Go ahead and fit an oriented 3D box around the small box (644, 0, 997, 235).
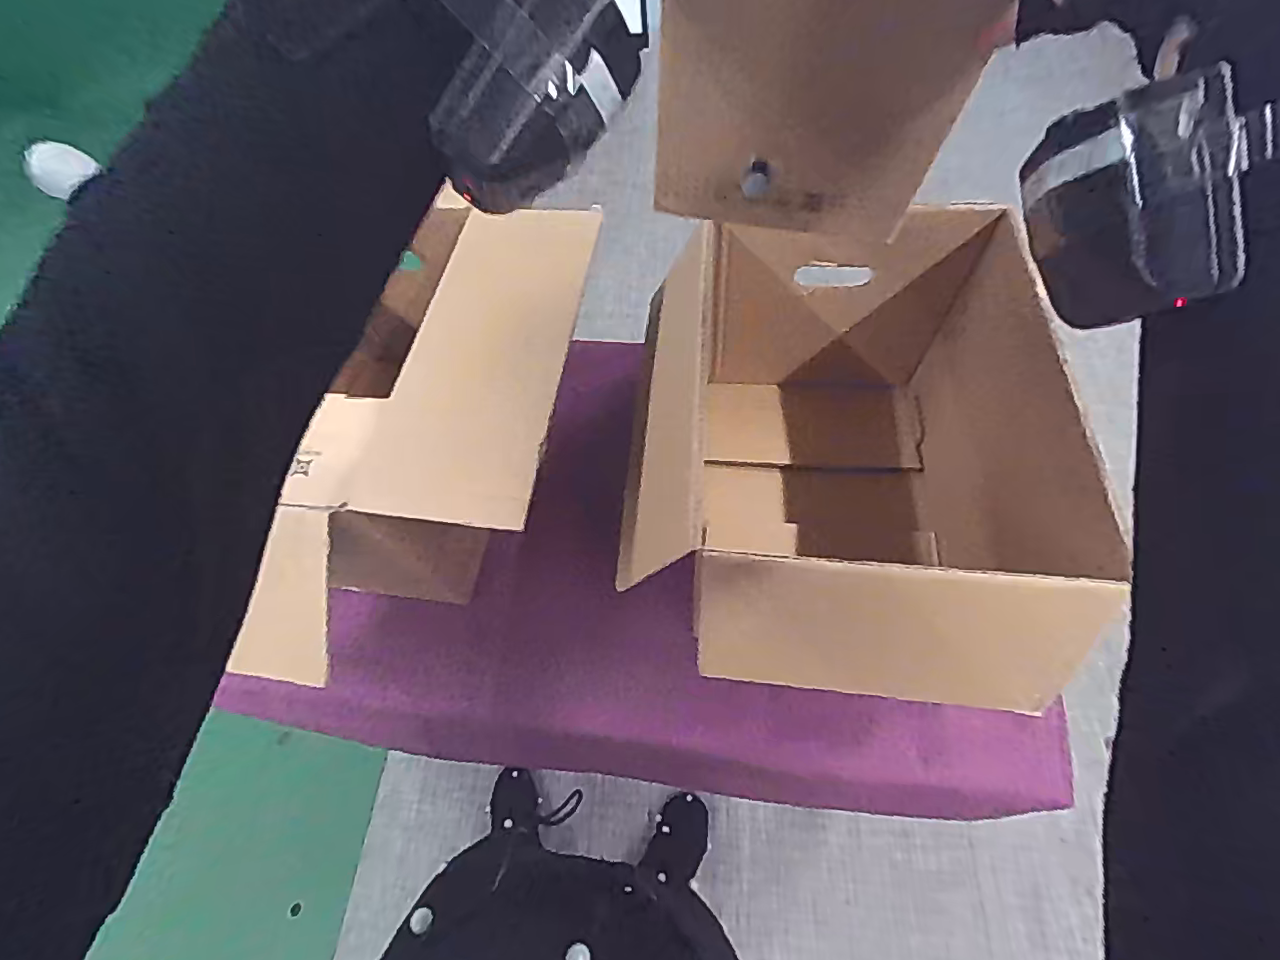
[{"bbox_3d":[0.094,-0.287,0.332,0.168,0.176,0.179,8,67,3],"label":"small box"}]
